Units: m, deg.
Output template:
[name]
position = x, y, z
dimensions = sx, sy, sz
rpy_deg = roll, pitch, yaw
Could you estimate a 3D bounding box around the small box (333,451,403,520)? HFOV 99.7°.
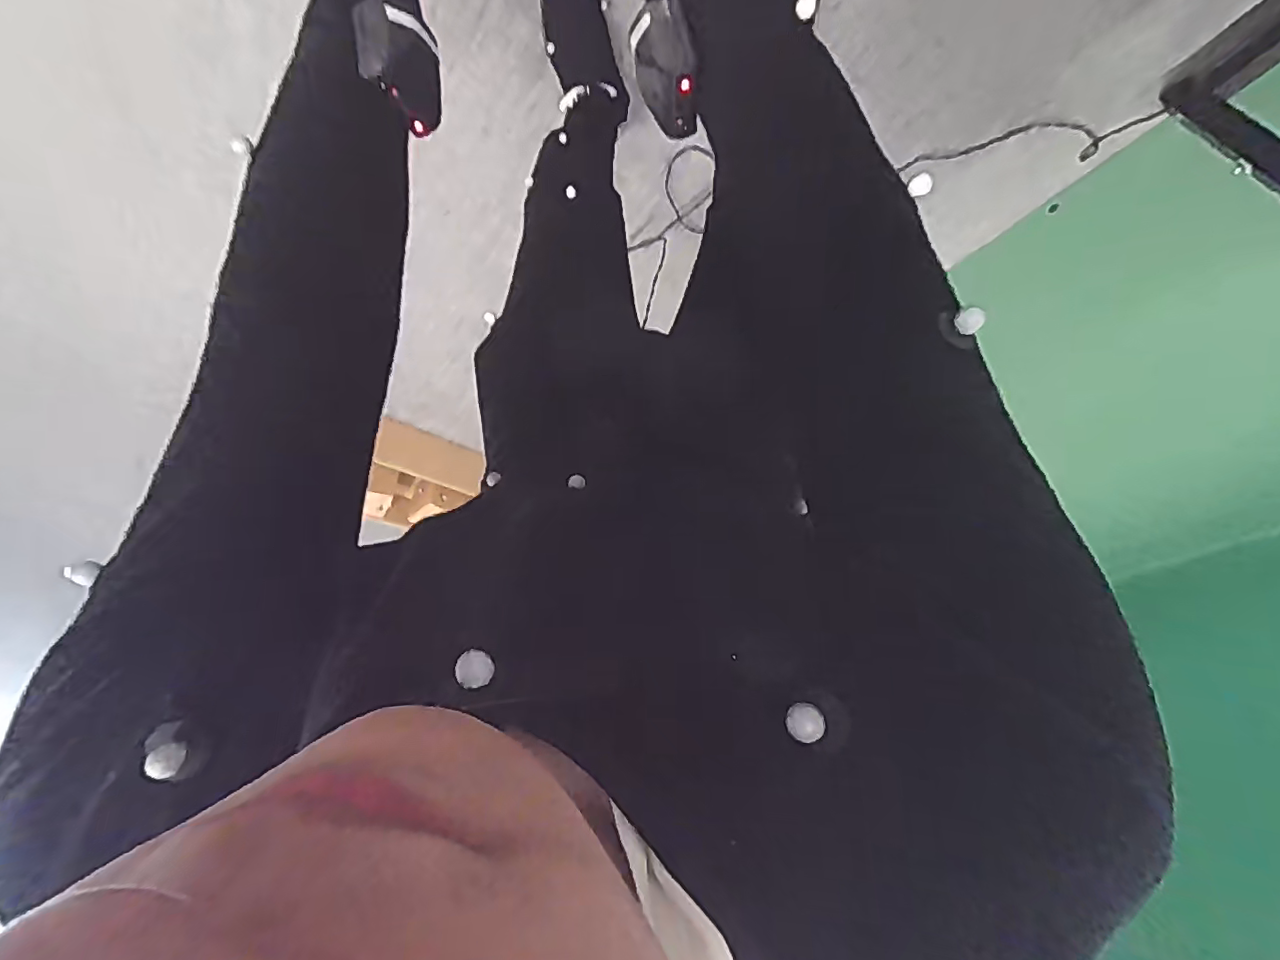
[small box]
position = -0.982, 0.018, 1.959
dimensions = 0.179, 0.176, 0.168
rpy_deg = 19, 139, -30
